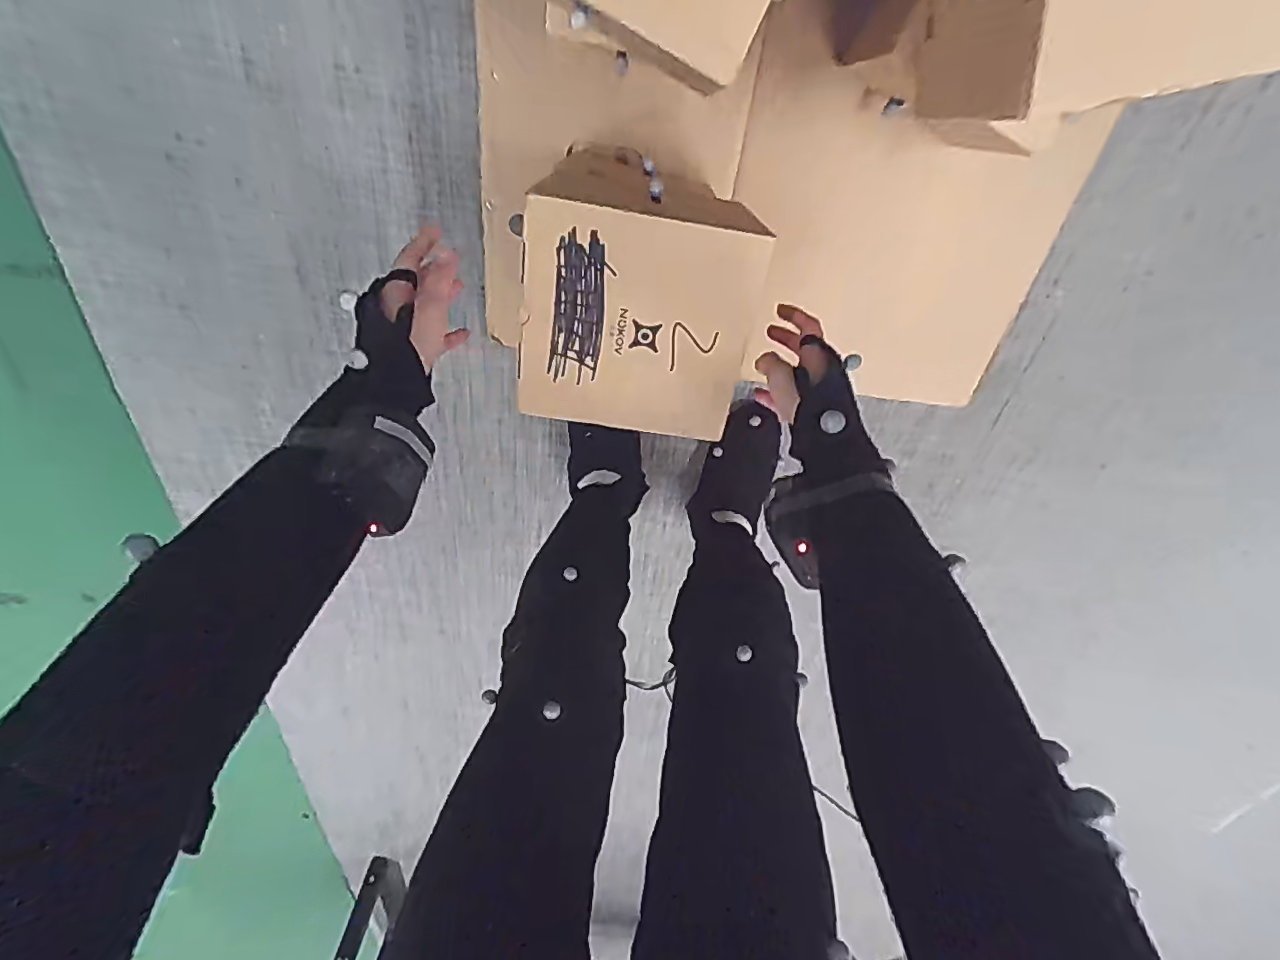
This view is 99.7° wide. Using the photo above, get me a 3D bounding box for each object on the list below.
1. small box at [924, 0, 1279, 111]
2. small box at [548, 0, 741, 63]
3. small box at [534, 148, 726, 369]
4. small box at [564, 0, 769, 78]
[{"bbox_3d":[0.301,-0.343,0.337,0.179,0.176,0.168,-7,123,8],"label":"small box"},{"bbox_3d":[0.022,-0.471,0.462,0.168,0.176,0.179,8,124,-4],"label":"small box"},{"bbox_3d":[-0.014,-0.253,0.611,0.168,0.176,0.179,12,124,-7],"label":"small box"},{"bbox_3d":[0.015,-0.376,0.328,0.179,0.176,0.168,23,122,-14],"label":"small box"}]
